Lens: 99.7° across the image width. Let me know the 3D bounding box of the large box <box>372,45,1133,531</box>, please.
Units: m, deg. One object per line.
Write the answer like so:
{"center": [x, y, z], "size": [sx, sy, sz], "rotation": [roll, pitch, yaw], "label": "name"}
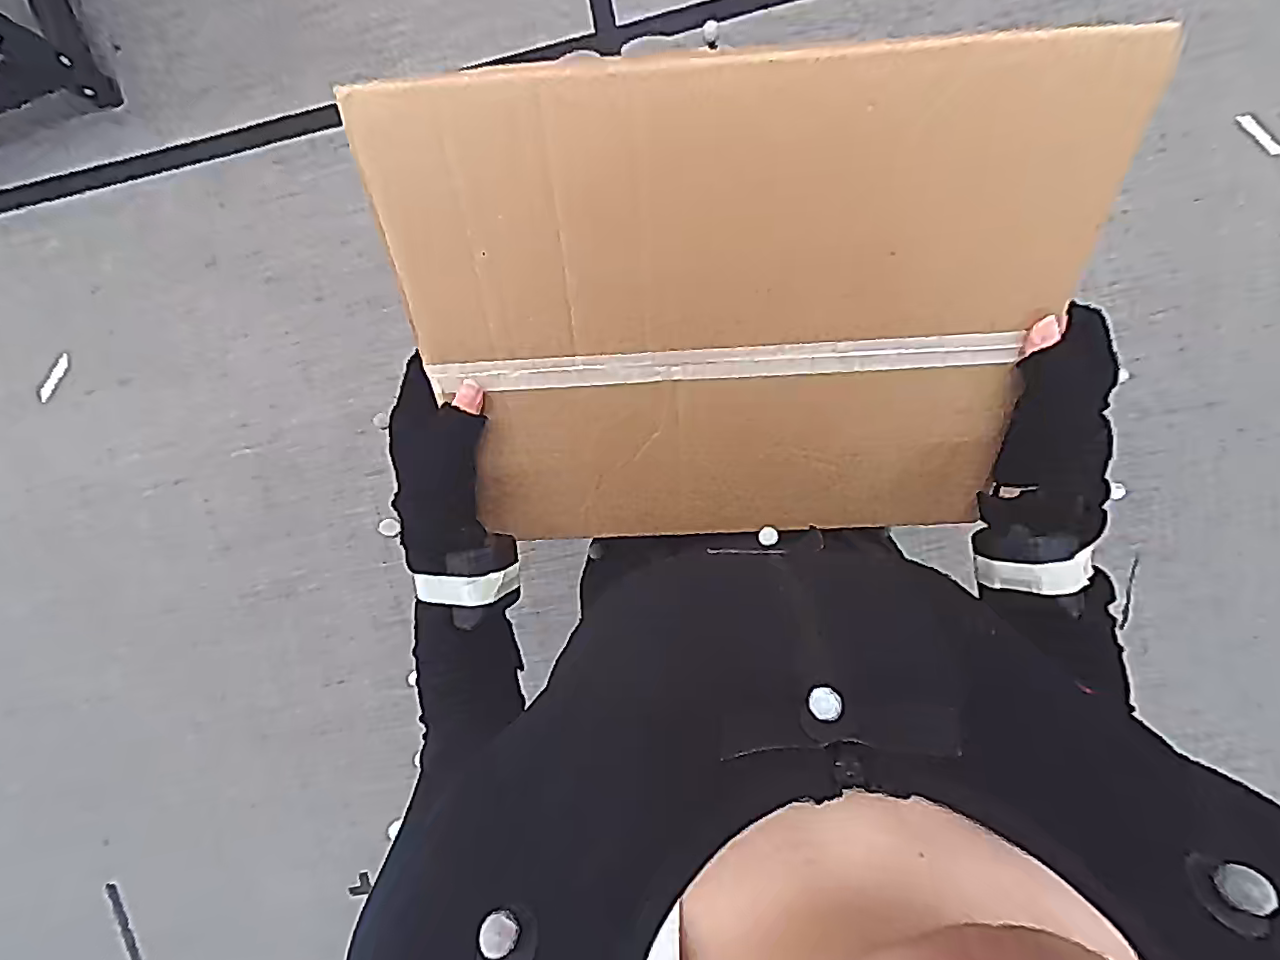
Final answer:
{"center": [0.063, -0.177, 0.487], "size": [0.408, 0.320, 0.320], "rotation": [-2, 128, 2], "label": "large box"}
